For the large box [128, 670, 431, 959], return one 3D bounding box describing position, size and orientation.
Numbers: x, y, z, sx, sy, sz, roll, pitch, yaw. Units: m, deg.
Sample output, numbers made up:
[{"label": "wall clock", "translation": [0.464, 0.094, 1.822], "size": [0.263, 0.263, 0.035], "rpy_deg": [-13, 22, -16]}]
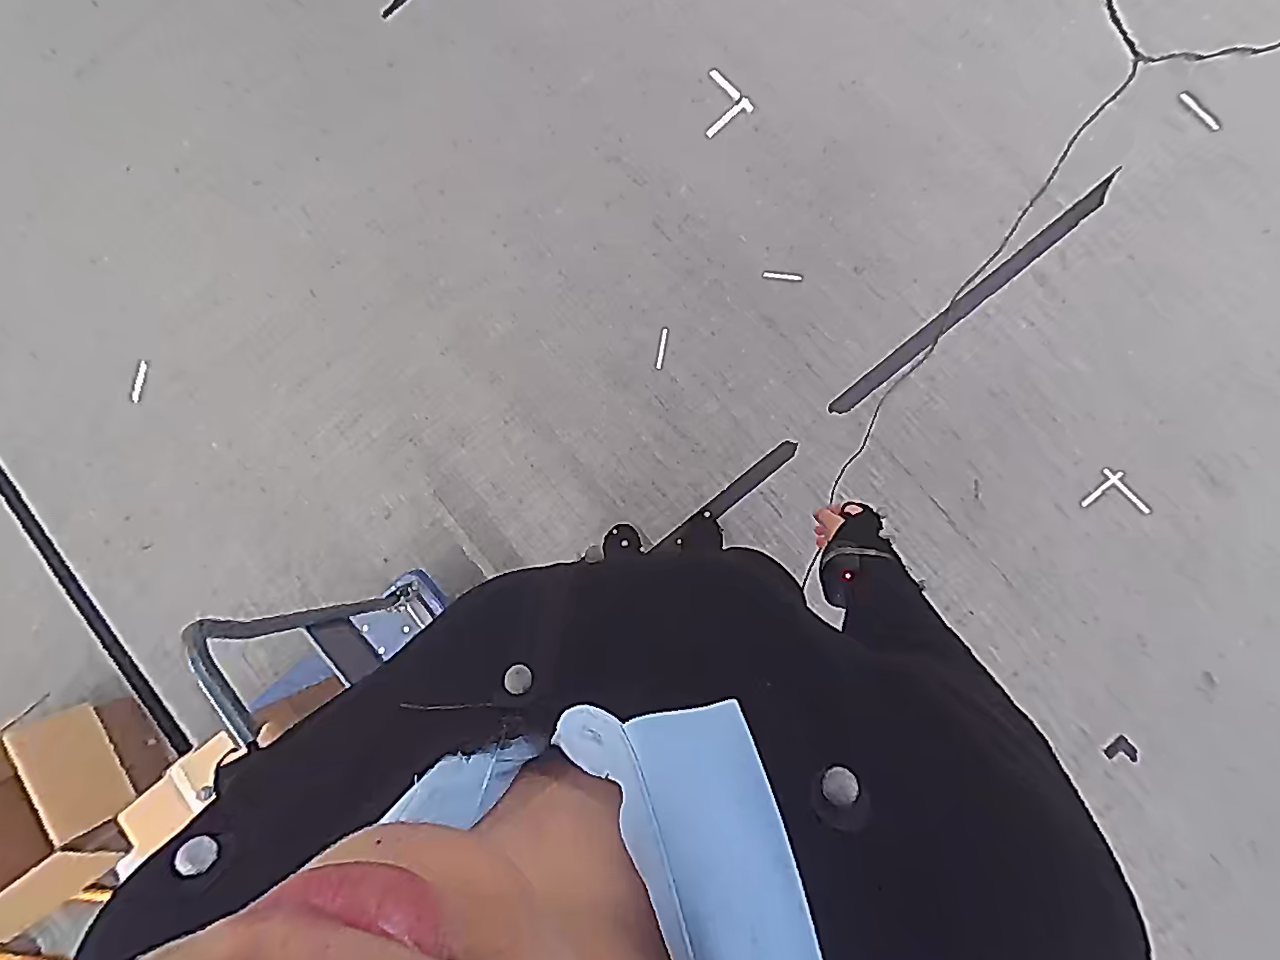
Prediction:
[{"label": "large box", "translation": [-0.749, 0.701, 1.181], "size": [0.320, 0.320, 0.408], "rpy_deg": [-39, 84, 1]}]
